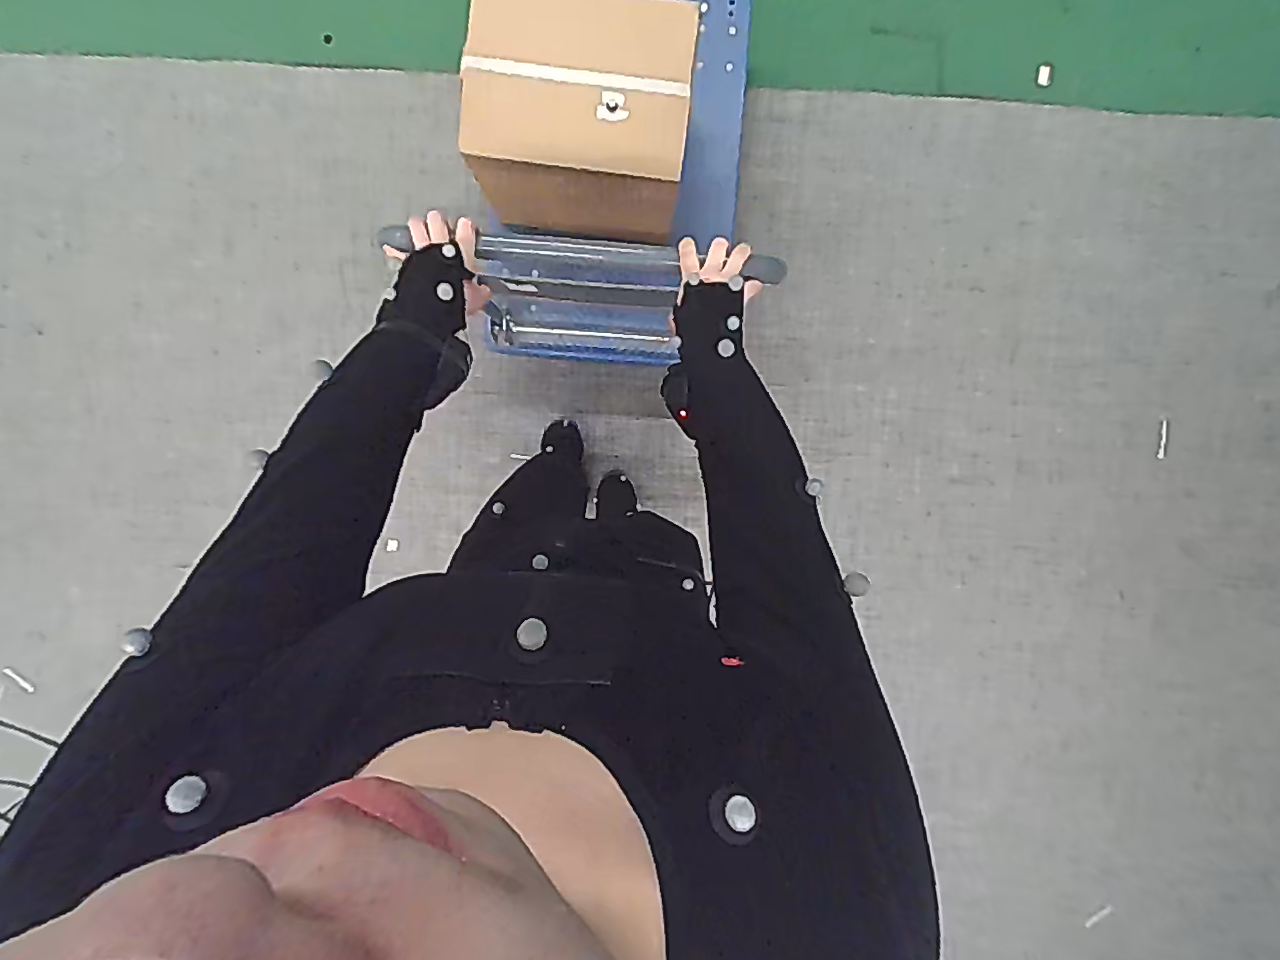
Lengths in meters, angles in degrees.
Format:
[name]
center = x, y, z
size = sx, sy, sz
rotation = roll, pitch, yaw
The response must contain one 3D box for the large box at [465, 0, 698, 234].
[large box]
center = -0.113, -0.744, 1.124
size = 0.408, 0.320, 0.320
rotation = 6, 94, -3
